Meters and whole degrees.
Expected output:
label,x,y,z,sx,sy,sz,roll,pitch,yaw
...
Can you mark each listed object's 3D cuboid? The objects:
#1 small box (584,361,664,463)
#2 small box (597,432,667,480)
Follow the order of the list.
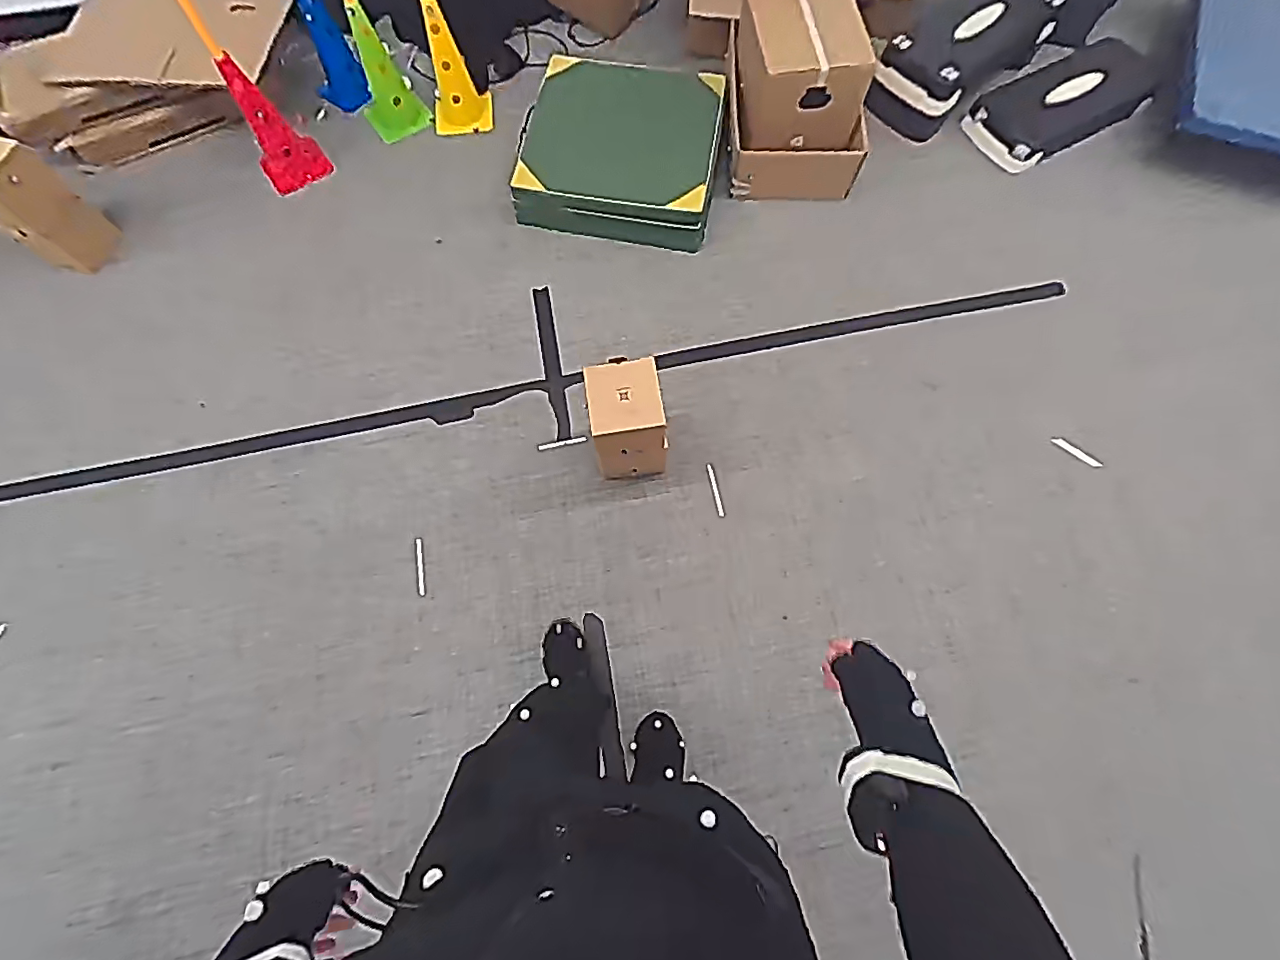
label,x,y,z,sx,sy,sz,roll,pitch,yaw
small box,-0.038,-0.156,1.284,0.168,0.176,0.179,-8,72,-2
small box,-0.030,-0.108,1.440,0.179,0.176,0.168,-7,70,-4
